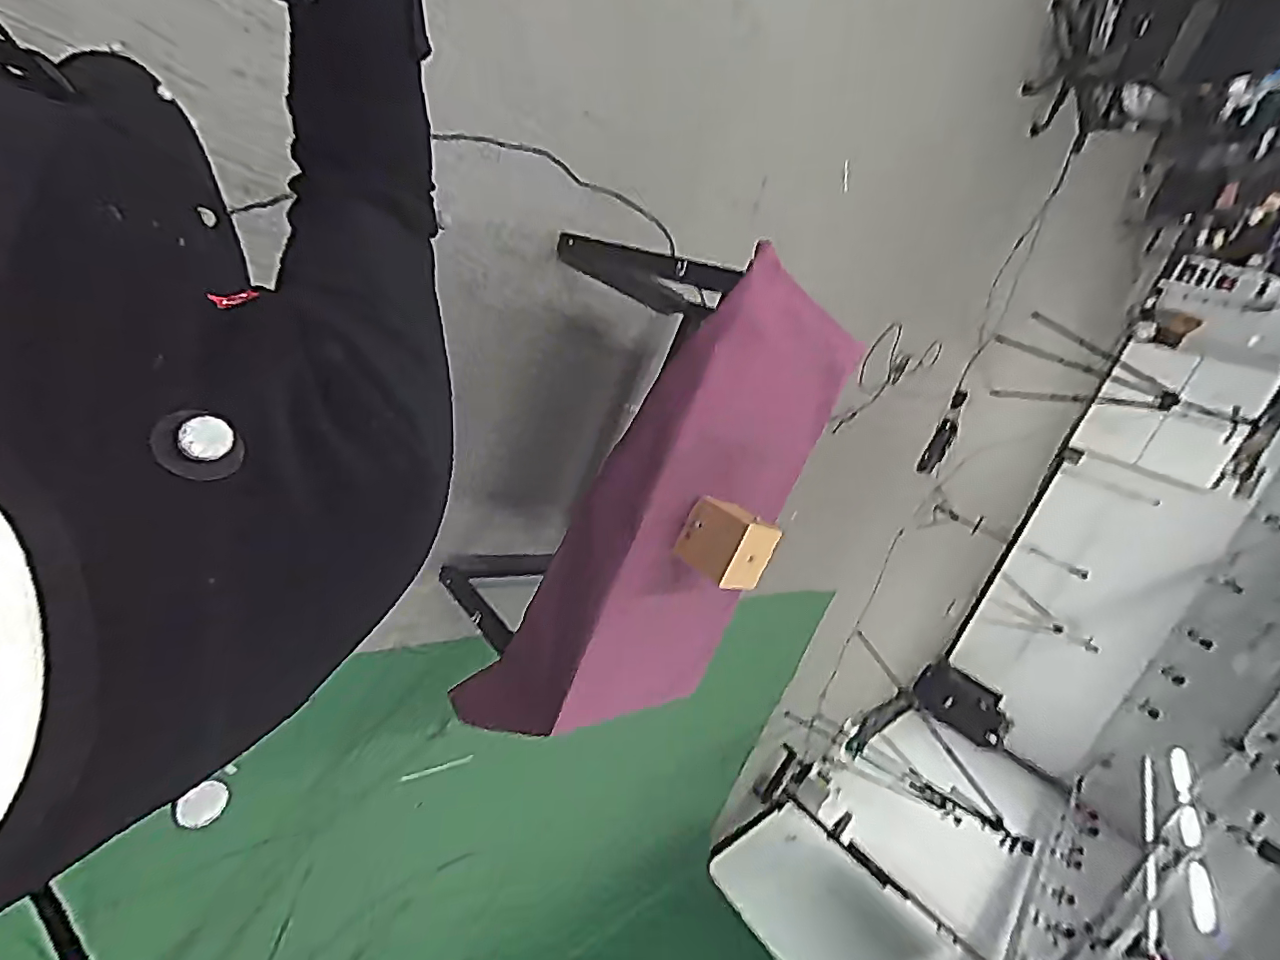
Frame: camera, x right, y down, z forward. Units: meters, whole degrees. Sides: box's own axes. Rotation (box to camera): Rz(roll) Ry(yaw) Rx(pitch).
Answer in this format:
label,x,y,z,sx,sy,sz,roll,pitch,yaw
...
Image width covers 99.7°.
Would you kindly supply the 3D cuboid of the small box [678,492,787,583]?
label,x,y,z,sx,sy,sz,roll,pitch,yaw
small box,0.230,0.143,1.358,0.179,0.176,0.168,15,103,-48
